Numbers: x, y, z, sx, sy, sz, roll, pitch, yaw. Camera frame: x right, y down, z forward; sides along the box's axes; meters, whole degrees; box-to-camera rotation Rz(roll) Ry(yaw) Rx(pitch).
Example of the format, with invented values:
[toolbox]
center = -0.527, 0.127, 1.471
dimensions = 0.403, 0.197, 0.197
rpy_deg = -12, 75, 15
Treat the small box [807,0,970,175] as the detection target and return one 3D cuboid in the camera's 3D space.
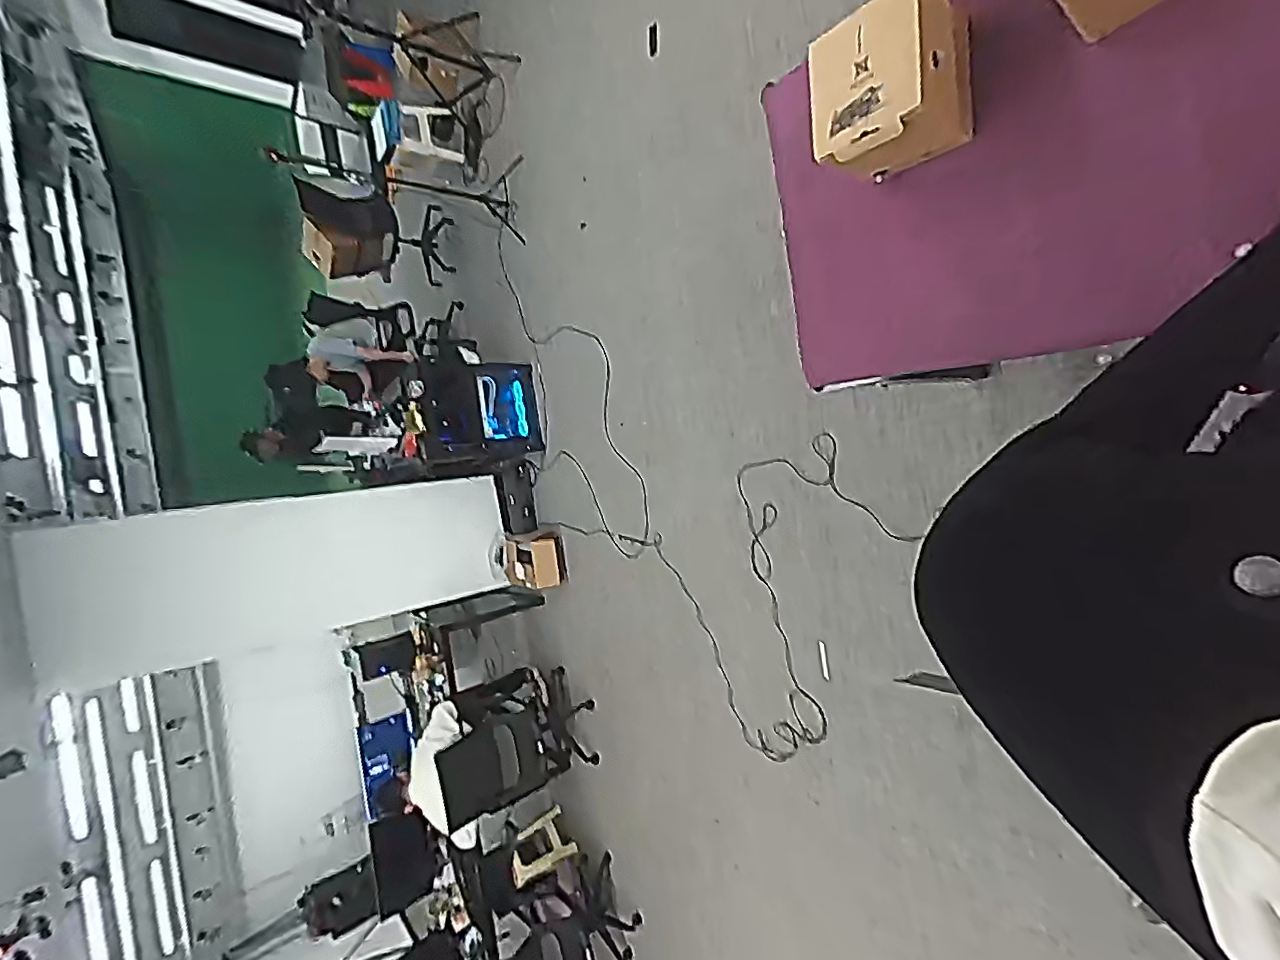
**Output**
[small box]
center = 0.376, -0.587, 0.815
dimensions = 0.168, 0.176, 0.179
rpy_deg = 0, 98, 52
